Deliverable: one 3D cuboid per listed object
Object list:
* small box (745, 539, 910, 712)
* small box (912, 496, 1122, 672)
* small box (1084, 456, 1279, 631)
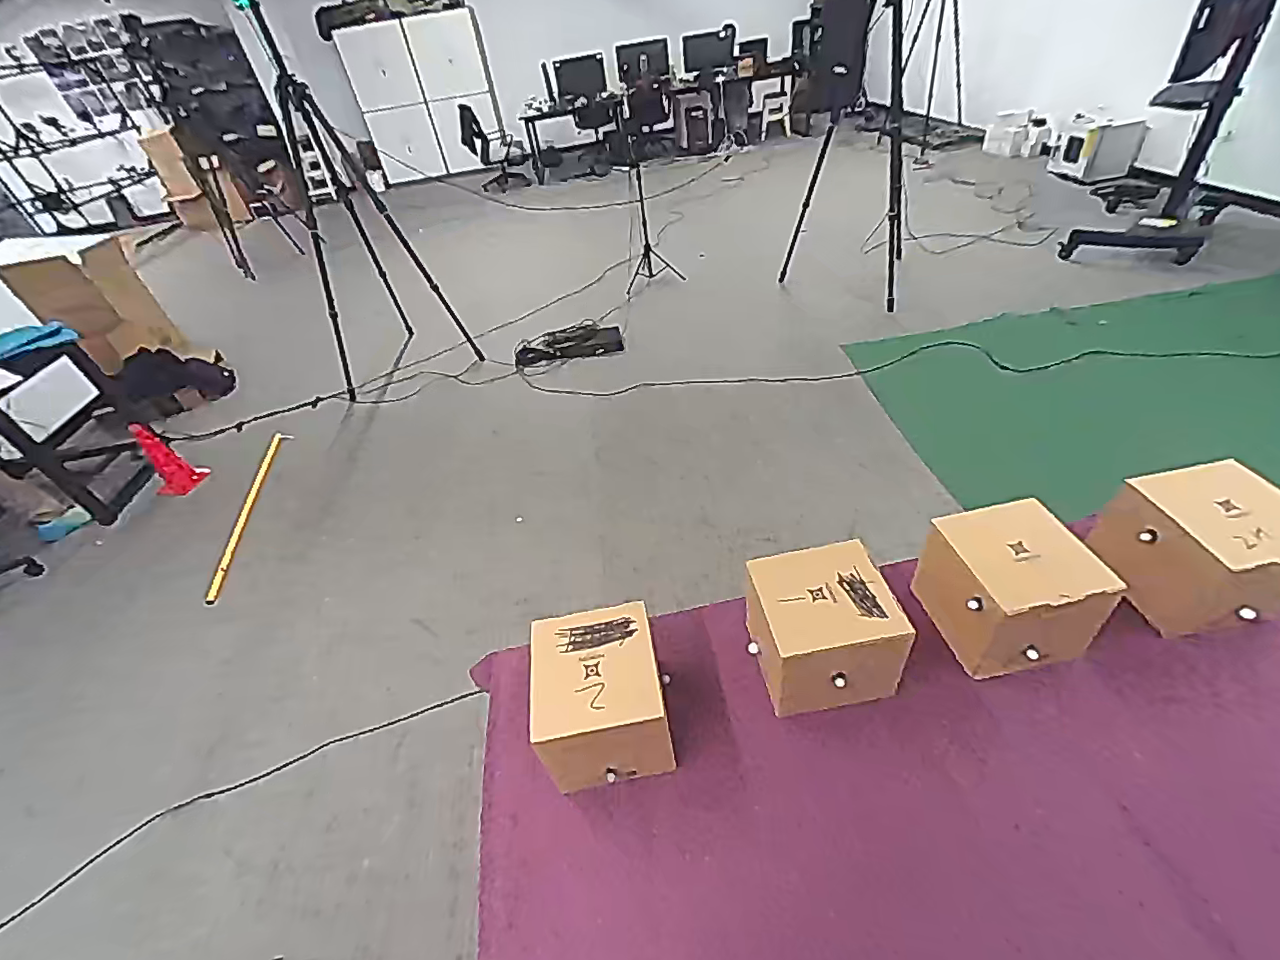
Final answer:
[{"bbox_3d":[0.260,0.215,0.794,0.179,0.176,0.168,-12,41,1],"label":"small box"},{"bbox_3d":[0.535,0.154,0.804,0.168,0.176,0.179,-12,42,-1],"label":"small box"},{"bbox_3d":[0.818,0.094,0.799,0.168,0.176,0.179,-11,44,1],"label":"small box"}]
